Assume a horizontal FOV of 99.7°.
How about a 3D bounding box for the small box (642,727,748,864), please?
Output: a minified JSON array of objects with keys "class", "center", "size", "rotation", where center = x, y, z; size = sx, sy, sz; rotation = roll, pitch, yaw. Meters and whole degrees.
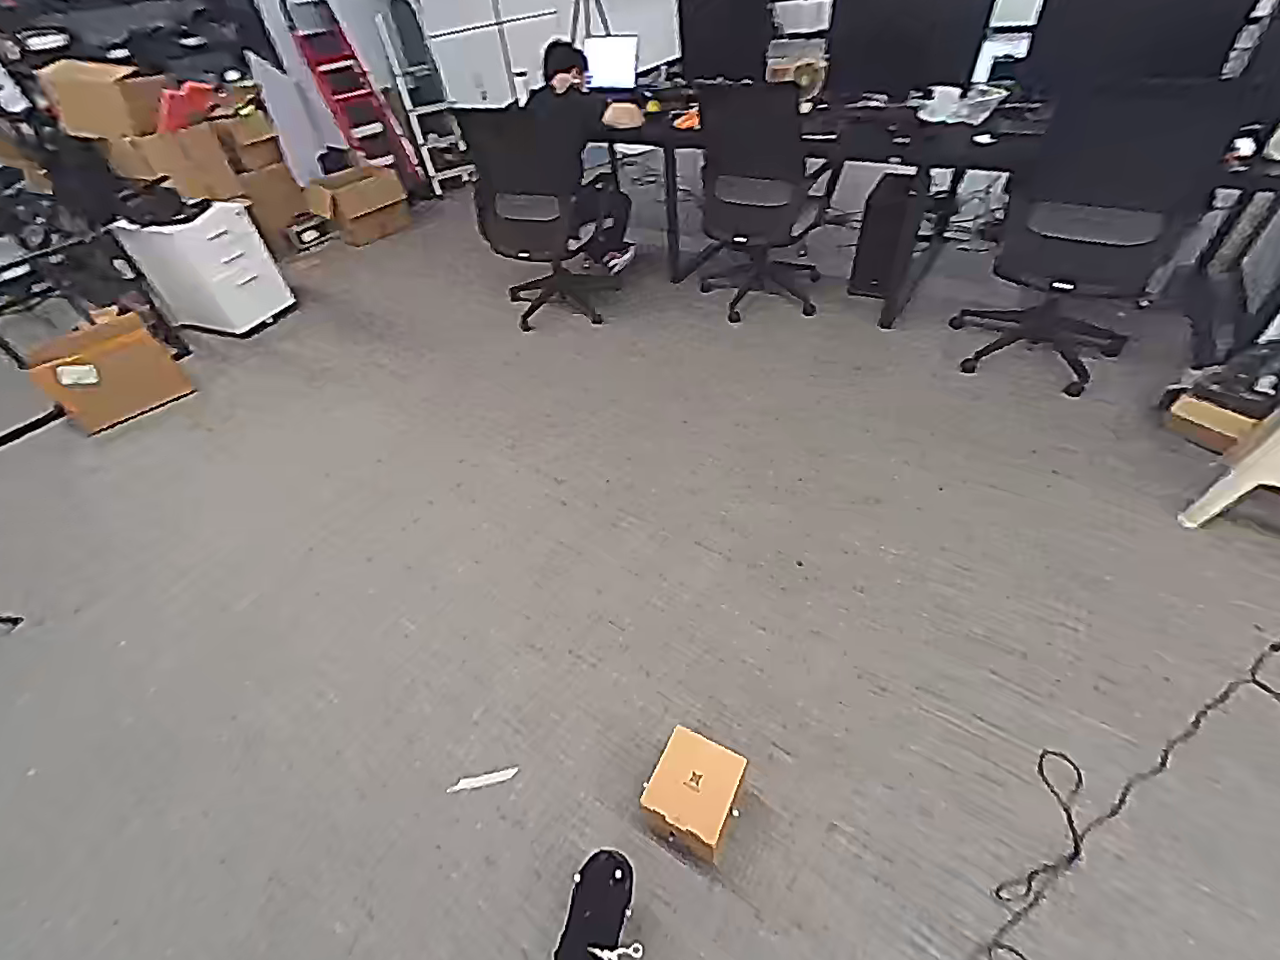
[{"class":"small box","center":[0.118,0.671,1.151],"size":[0.168,0.176,0.179],"rotation":[17,49,23]}]
